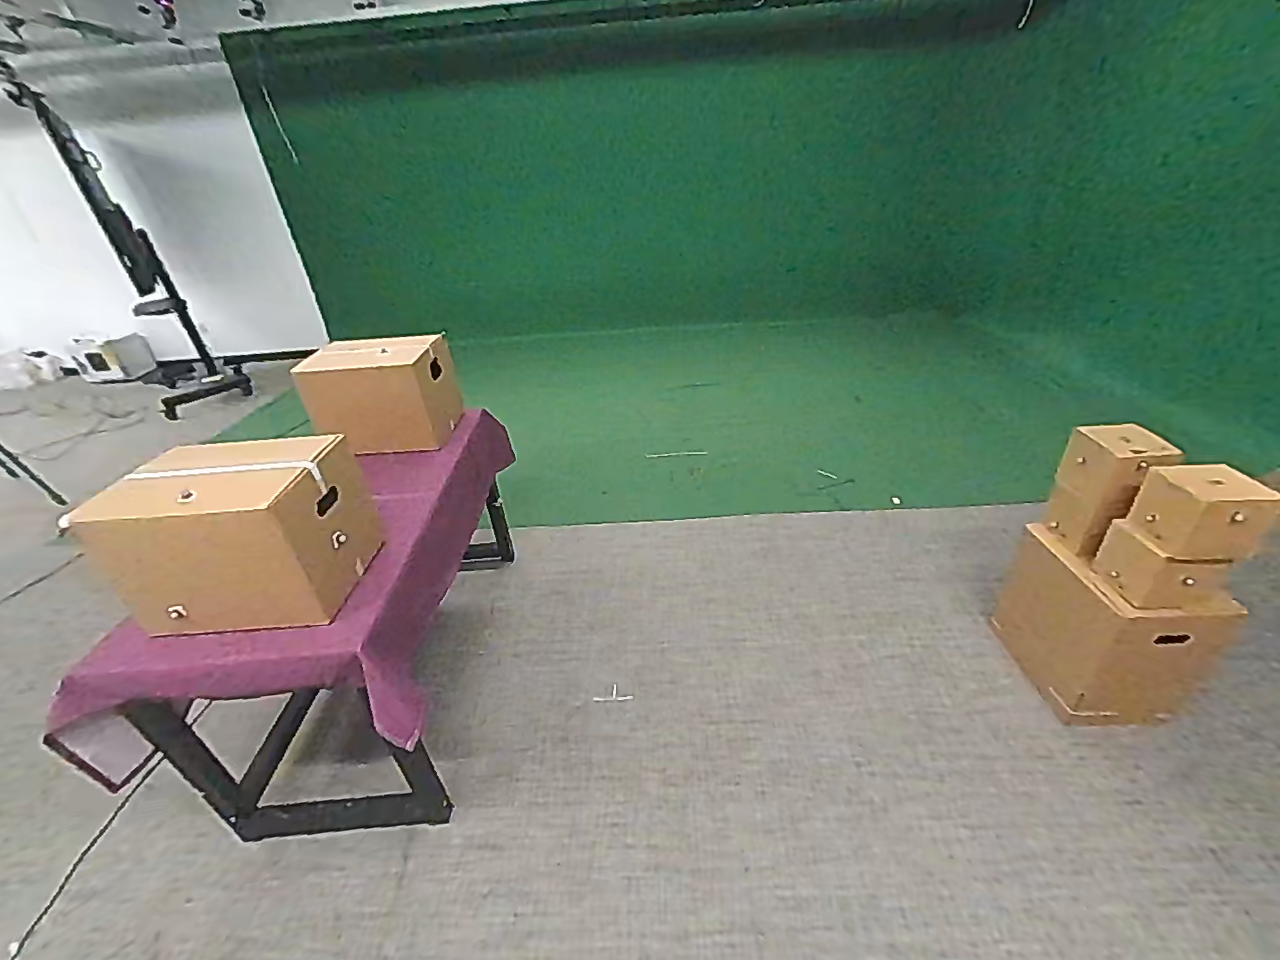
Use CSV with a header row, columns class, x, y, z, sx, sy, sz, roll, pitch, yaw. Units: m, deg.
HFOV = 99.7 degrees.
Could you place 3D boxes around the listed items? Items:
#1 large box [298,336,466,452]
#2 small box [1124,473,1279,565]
class,x,y,z,sx,sy,sz,roll,pitch,yaw
large box,-0.878,-0.305,1.903,0.408,0.320,0.320,-2,32,2
small box,1.354,0.096,1.320,0.179,0.176,0.168,-1,30,5
